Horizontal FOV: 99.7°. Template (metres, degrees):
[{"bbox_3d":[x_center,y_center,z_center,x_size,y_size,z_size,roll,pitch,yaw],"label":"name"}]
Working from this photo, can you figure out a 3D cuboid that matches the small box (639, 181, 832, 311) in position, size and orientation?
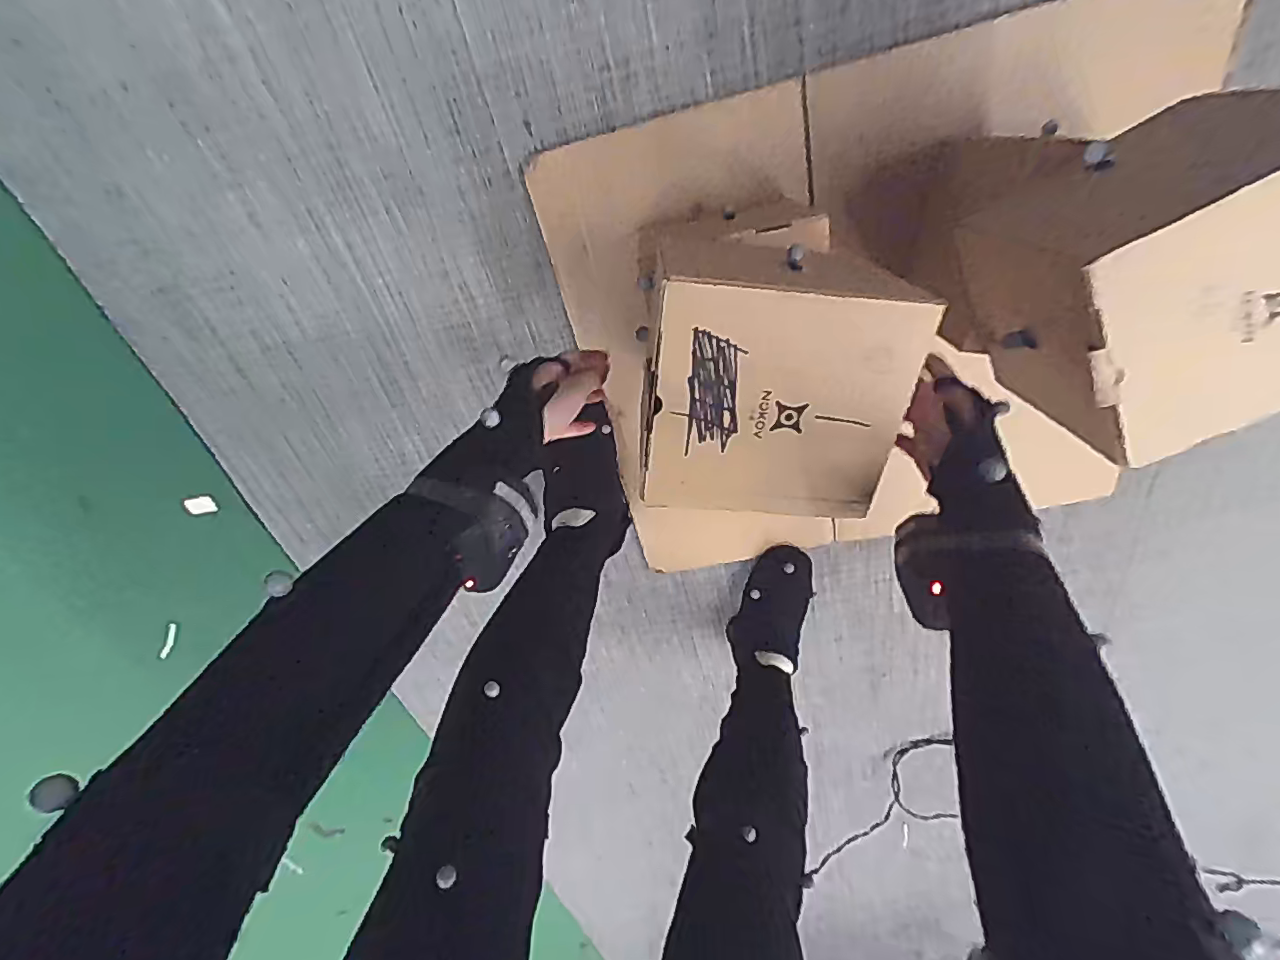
[{"bbox_3d":[0.098,-0.196,0.569,0.168,0.176,0.179,-10,122,7],"label":"small box"}]

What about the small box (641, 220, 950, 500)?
[{"bbox_3d":[0.096,-0.104,0.434,0.179,0.176,0.168,4,123,-3],"label":"small box"}]

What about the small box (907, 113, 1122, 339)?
[{"bbox_3d":[0.390,-0.244,0.529,0.168,0.176,0.179,5,123,-2],"label":"small box"}]

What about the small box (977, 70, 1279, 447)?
[{"bbox_3d":[0.376,-0.159,0.390,0.179,0.176,0.168,-26,119,18],"label":"small box"}]
